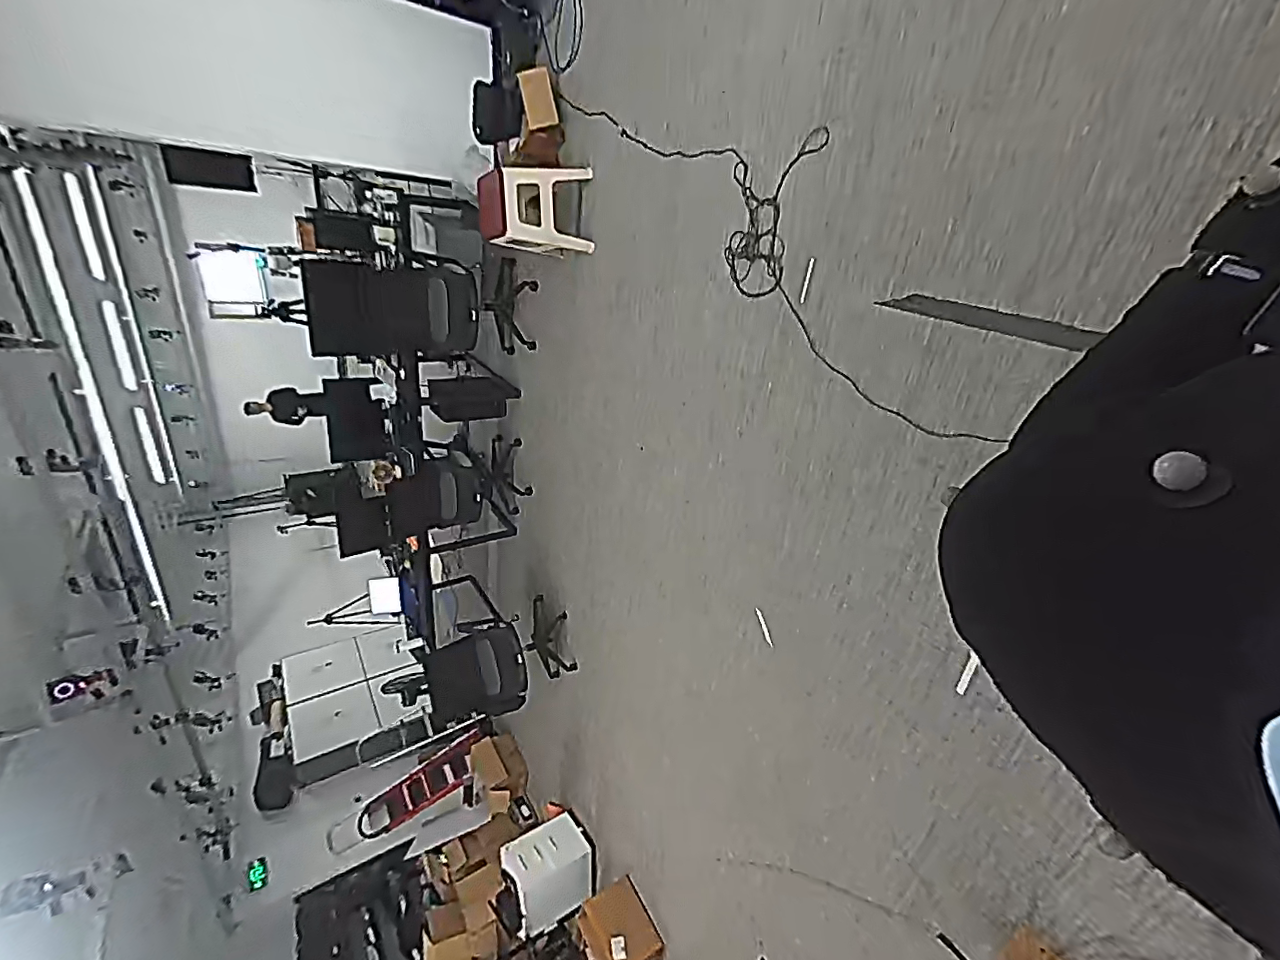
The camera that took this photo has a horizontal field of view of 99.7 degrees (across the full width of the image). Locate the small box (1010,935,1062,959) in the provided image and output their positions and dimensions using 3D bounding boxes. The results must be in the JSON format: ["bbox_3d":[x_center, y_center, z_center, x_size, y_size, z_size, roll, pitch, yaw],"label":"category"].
[{"bbox_3d":[1.072,1.389,1.446,0.168,0.176,0.179,30,123,49],"label":"small box"}]
